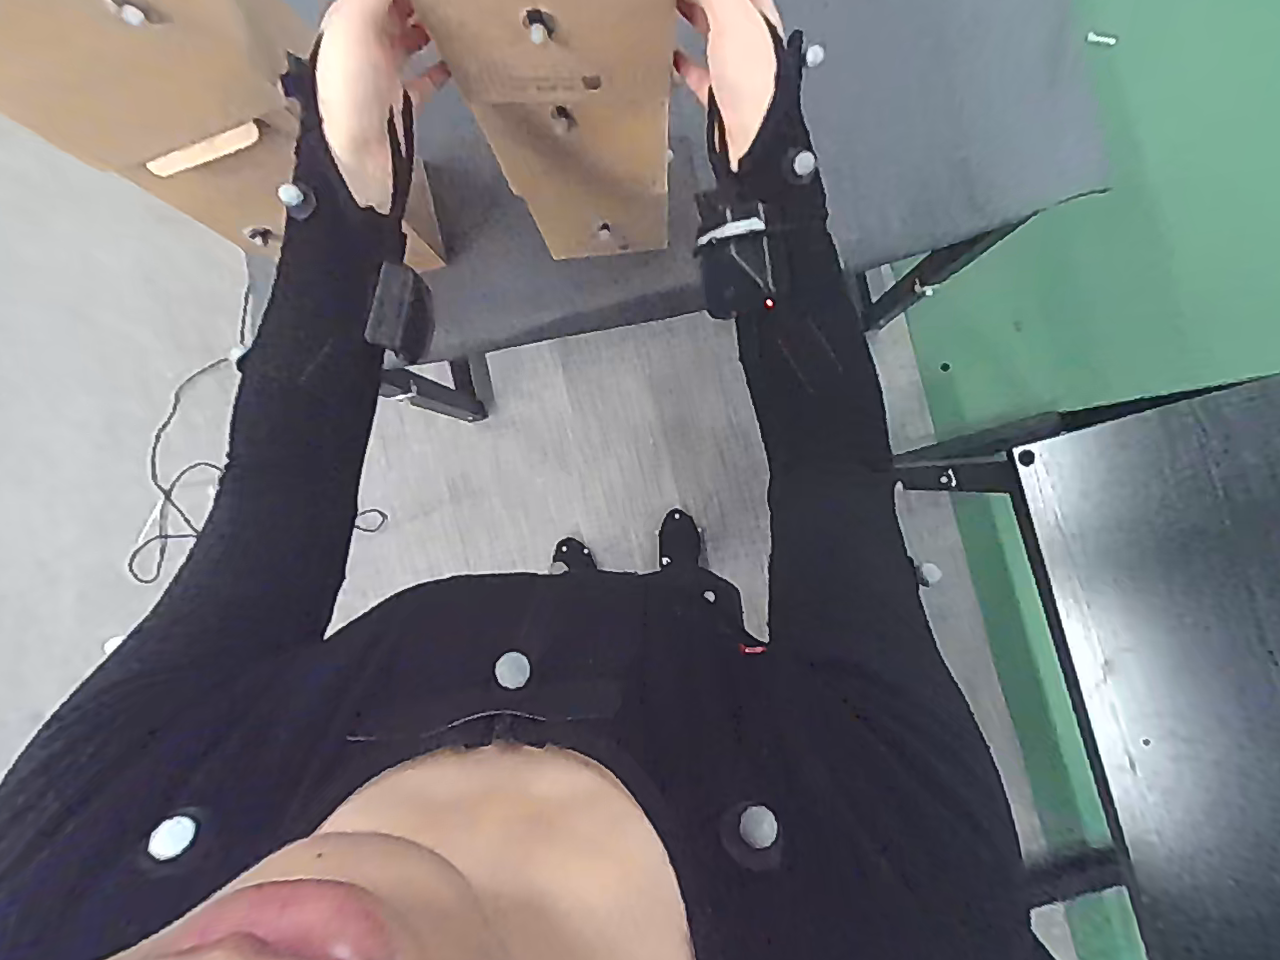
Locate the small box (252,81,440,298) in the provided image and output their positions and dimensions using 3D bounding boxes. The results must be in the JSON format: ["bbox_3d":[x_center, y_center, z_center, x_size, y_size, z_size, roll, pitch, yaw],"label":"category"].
[{"bbox_3d":[-0.384,-0.364,0.711,0.179,0.176,0.168,-15,87,3],"label":"small box"}]

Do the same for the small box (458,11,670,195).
[{"bbox_3d":[-0.059,-0.402,0.528,0.179,0.176,0.168,1,88,4],"label":"small box"}]

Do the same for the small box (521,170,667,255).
[{"bbox_3d":[-0.055,-0.406,0.691,0.168,0.176,0.179,-5,89,4],"label":"small box"}]

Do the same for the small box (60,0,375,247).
[{"bbox_3d":[-0.403,-0.364,0.547,0.168,0.176,0.179,-19,86,2],"label":"small box"}]

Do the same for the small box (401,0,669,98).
[{"bbox_3d":[-0.065,-0.373,0.337,0.168,0.176,0.179,0,93,2],"label":"small box"}]
